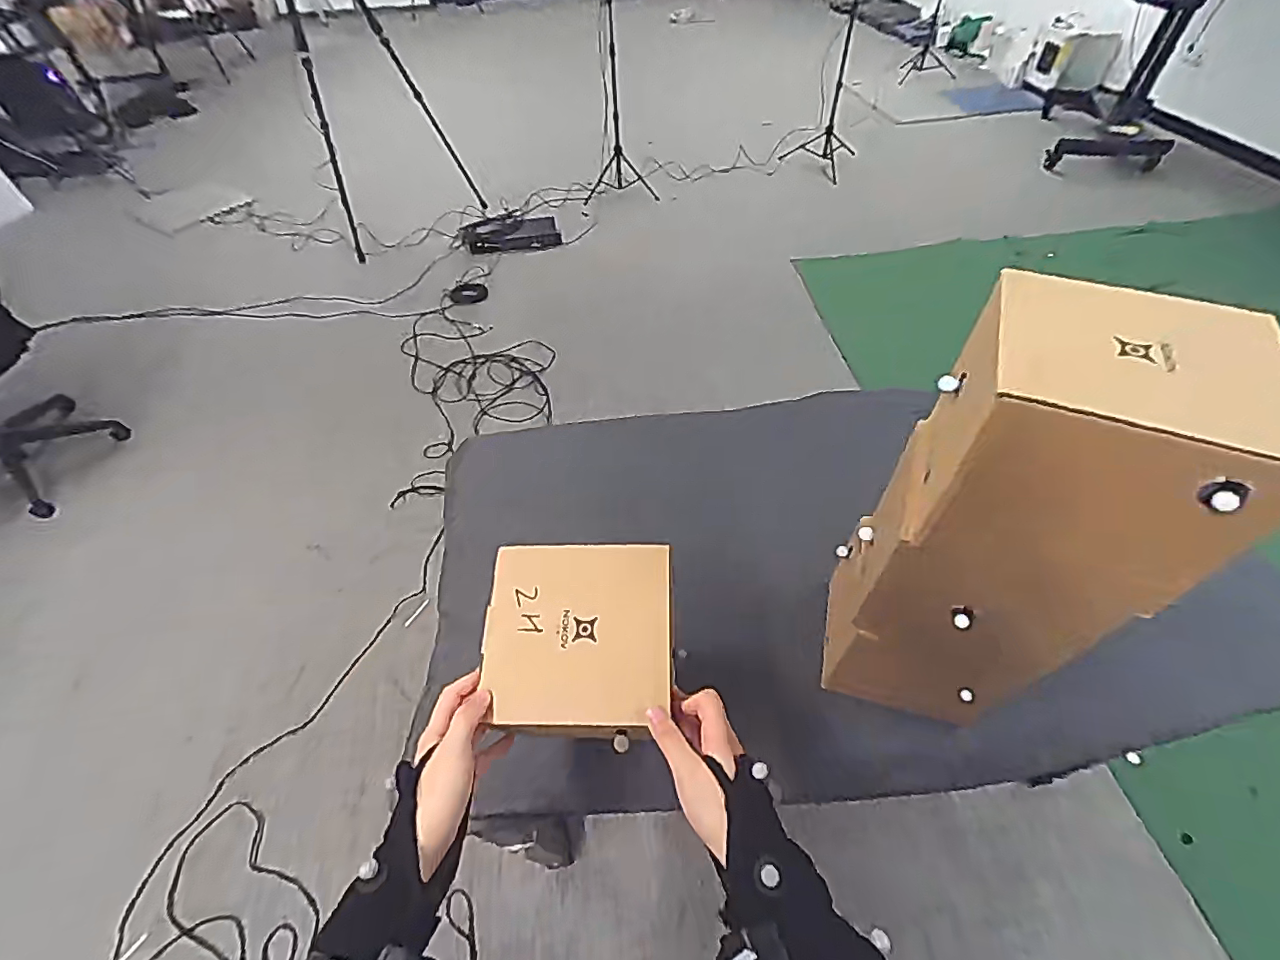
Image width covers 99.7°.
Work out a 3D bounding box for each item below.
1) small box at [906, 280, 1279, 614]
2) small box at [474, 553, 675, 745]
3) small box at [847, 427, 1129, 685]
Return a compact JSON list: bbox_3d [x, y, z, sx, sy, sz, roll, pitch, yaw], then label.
[{"bbox_3d":[0.326,-0.024,0.414,0.179,0.176,0.168,18,52,17],"label":"small box"},{"bbox_3d":[-0.051,0.184,0.573,0.179,0.176,0.168,-1,61,5],"label":"small box"},{"bbox_3d":[0.328,0.079,0.539,0.179,0.176,0.168,18,53,18],"label":"small box"}]
